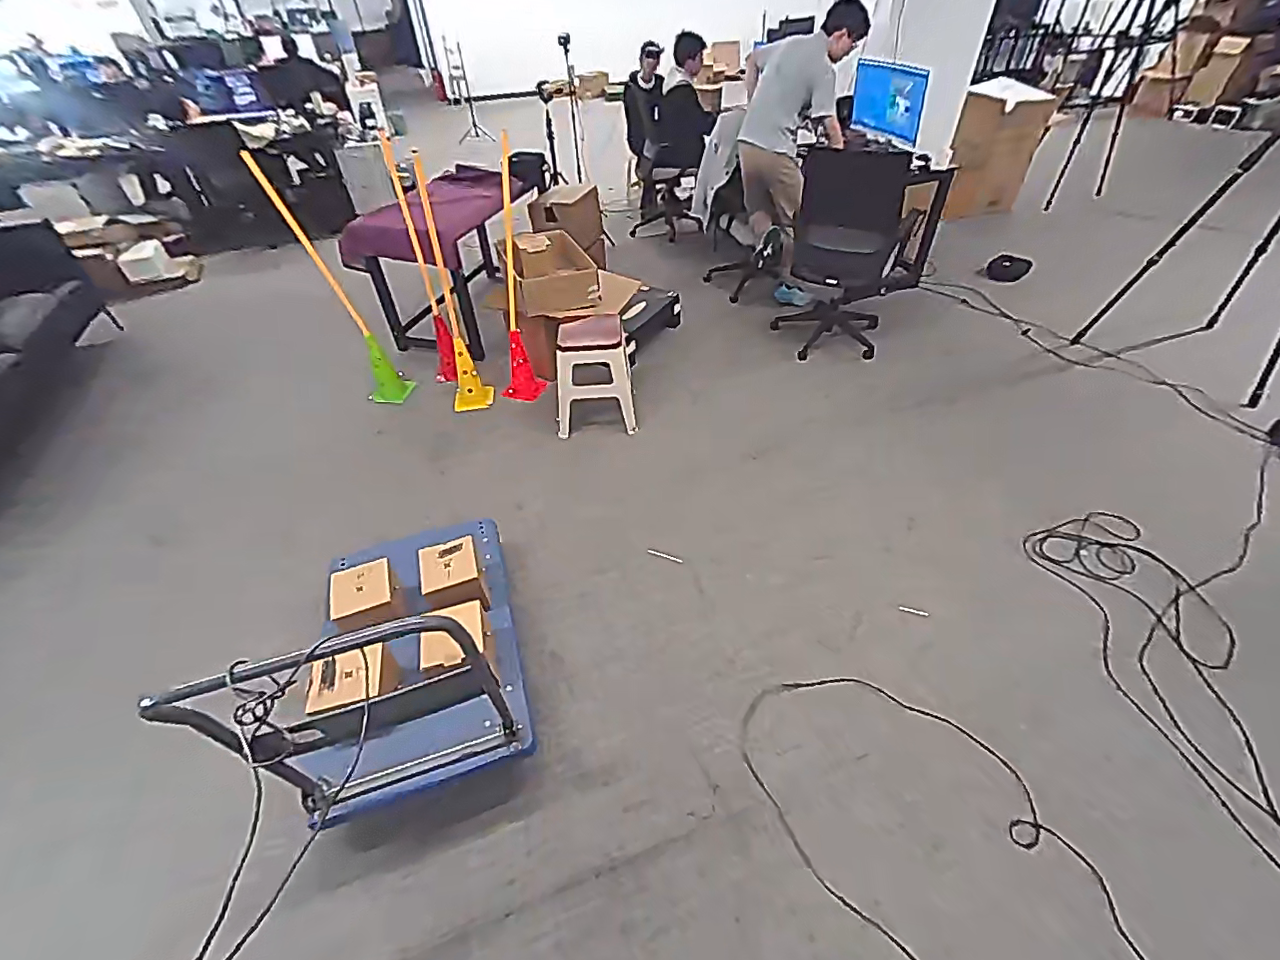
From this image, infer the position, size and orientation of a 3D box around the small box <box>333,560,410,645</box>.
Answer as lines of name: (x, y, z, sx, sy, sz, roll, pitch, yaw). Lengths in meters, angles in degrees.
small box: (-0.818, 0.382, 1.657, 0.168, 0.176, 0.179, -17, 45, -14)

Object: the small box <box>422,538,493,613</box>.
small box: (-0.575, 0.317, 1.705, 0.168, 0.176, 0.179, -17, 46, -11)

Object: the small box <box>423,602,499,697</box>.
small box: (-0.505, 0.481, 1.532, 0.168, 0.176, 0.179, -14, 46, -9)
